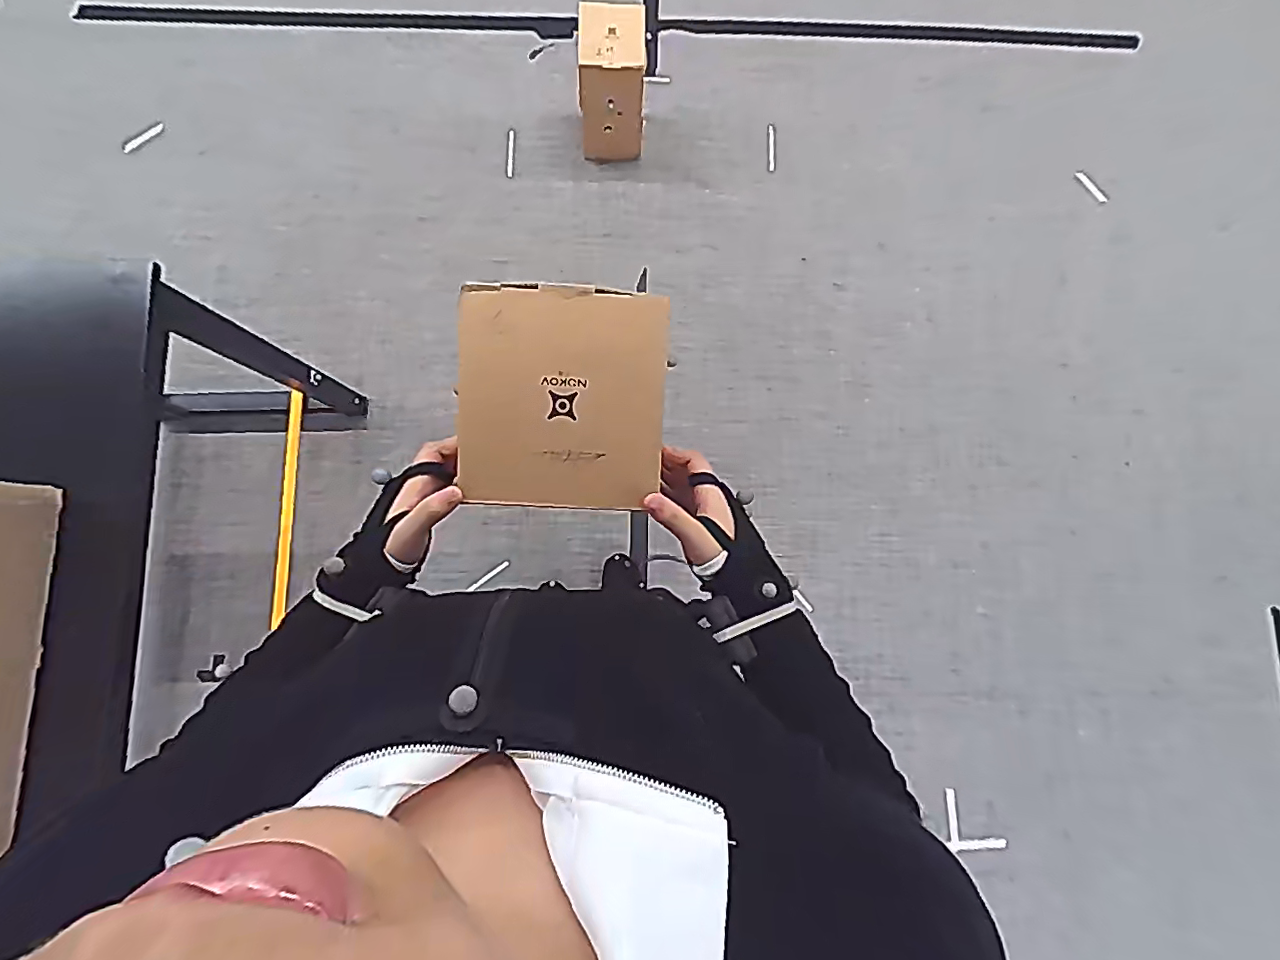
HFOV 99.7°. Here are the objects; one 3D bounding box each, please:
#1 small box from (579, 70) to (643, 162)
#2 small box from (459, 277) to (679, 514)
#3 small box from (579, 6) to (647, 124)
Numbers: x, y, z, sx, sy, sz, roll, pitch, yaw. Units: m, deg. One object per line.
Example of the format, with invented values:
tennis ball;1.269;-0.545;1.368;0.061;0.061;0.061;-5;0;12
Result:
small box;-0.083;-1.057;1.575;0.179;0.176;0.168;-3;83;-3
small box;-0.060;-0.073;0.502;0.168;0.176;0.179;3;97;-3
small box;-0.071;-1.078;1.412;0.168;0.176;0.179;1;83;-2
